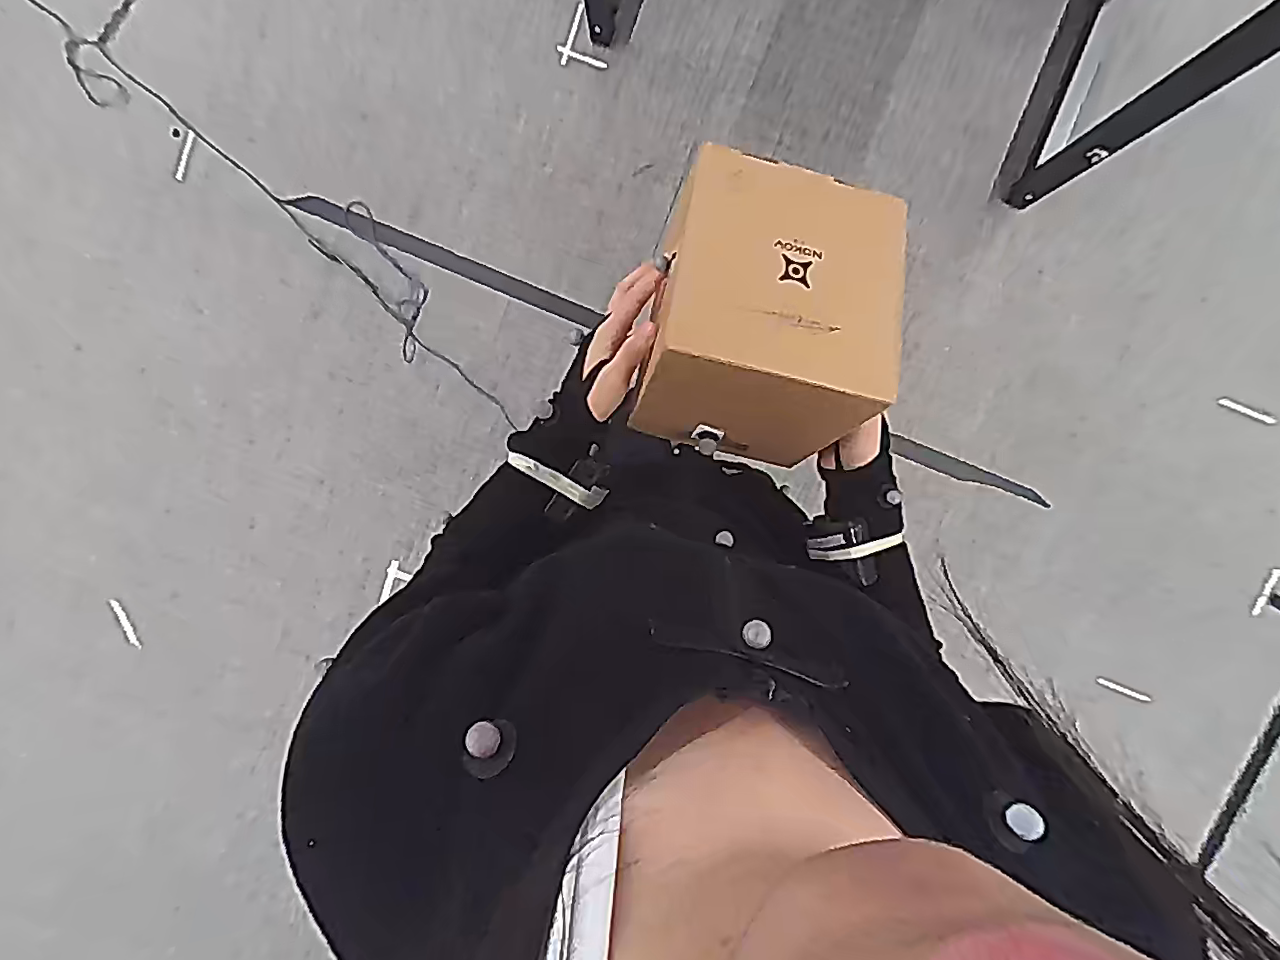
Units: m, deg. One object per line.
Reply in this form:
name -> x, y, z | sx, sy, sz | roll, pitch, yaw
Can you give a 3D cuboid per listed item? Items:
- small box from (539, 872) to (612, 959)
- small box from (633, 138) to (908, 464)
small box -> -0.179, 1.259, 1.535 | 0.179, 0.176, 0.168 | 9, 95, 0
small box -> 0.096, -0.130, 0.455 | 0.168, 0.176, 0.179 | 12, 75, -6
